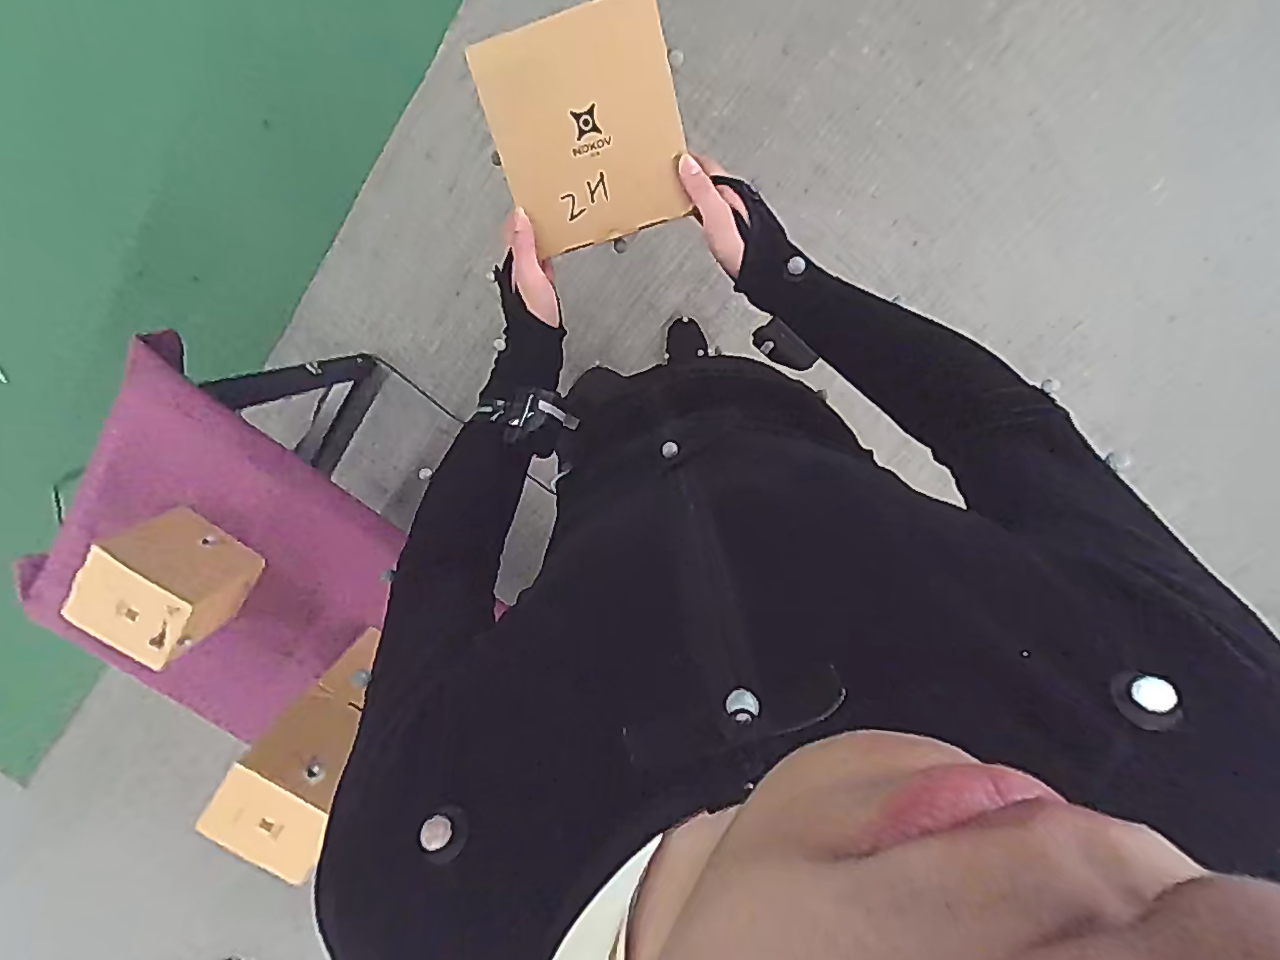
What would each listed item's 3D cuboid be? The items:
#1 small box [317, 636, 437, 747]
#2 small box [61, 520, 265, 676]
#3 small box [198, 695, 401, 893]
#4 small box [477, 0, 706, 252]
[{"bbox_3d":[-0.500,0.423,0.989,0.168,0.176,0.179,36,108,-8],"label":"small box"},{"bbox_3d":[-0.809,0.190,0.933,0.179,0.176,0.168,37,108,-8],"label":"small box"},{"bbox_3d":[-0.509,0.472,0.834,0.179,0.176,0.168,36,106,-7],"label":"small box"},{"bbox_3d":[-0.039,-0.340,0.542,0.168,0.176,0.179,-13,115,5],"label":"small box"}]
